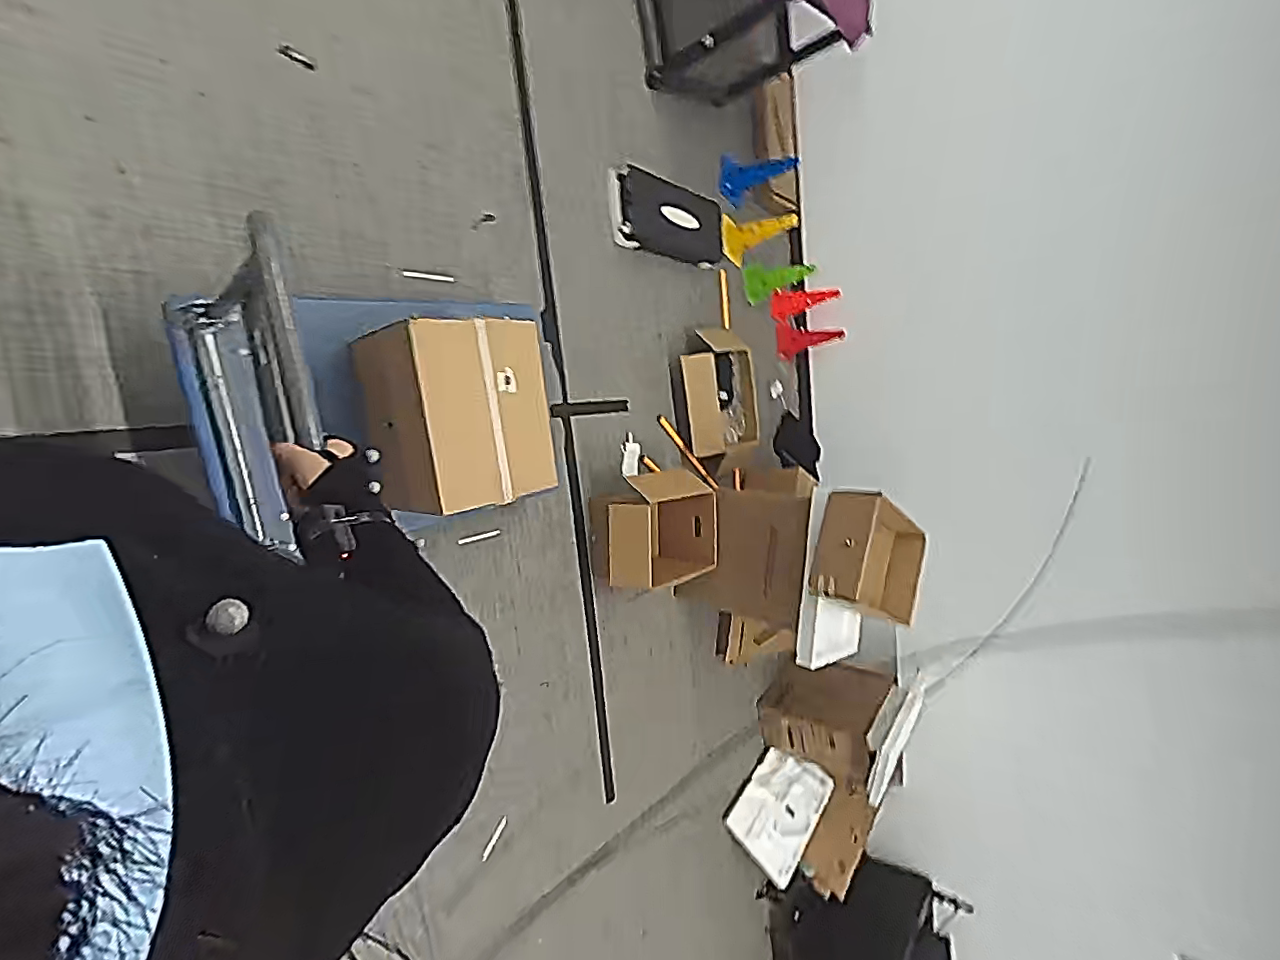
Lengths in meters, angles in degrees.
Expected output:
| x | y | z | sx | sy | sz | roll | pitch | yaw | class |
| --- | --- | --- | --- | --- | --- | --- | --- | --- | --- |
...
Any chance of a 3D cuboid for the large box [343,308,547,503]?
| x | y | z | sx | sy | sz | roll | pitch | yaw | class |
| --- | --- | --- | --- | --- | --- | --- | --- | --- | --- |
| -0.467 | -0.177 | 1.306 | 0.320 | 0.320 | 0.408 | -17 | 103 | -48 | large box |
